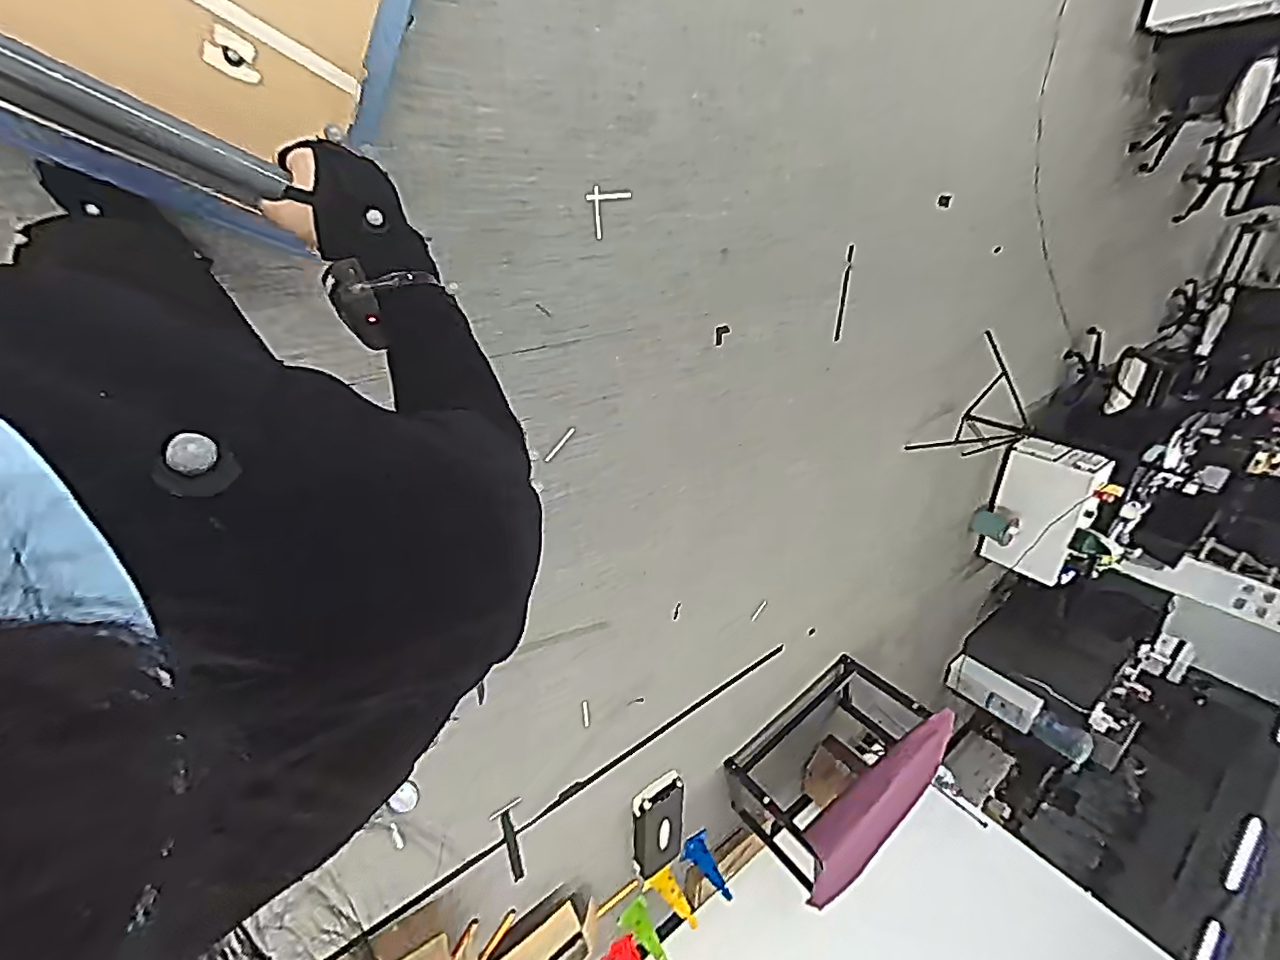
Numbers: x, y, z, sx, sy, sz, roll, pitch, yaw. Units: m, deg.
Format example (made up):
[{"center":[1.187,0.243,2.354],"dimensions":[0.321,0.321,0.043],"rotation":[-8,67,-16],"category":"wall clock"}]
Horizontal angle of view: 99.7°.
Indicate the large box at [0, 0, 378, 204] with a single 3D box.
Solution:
[{"center":[-0.639,-0.626,0.735],"dimensions":[0.408,0.320,0.320],"rotation":[13,103,-43],"category":"large box"}]
